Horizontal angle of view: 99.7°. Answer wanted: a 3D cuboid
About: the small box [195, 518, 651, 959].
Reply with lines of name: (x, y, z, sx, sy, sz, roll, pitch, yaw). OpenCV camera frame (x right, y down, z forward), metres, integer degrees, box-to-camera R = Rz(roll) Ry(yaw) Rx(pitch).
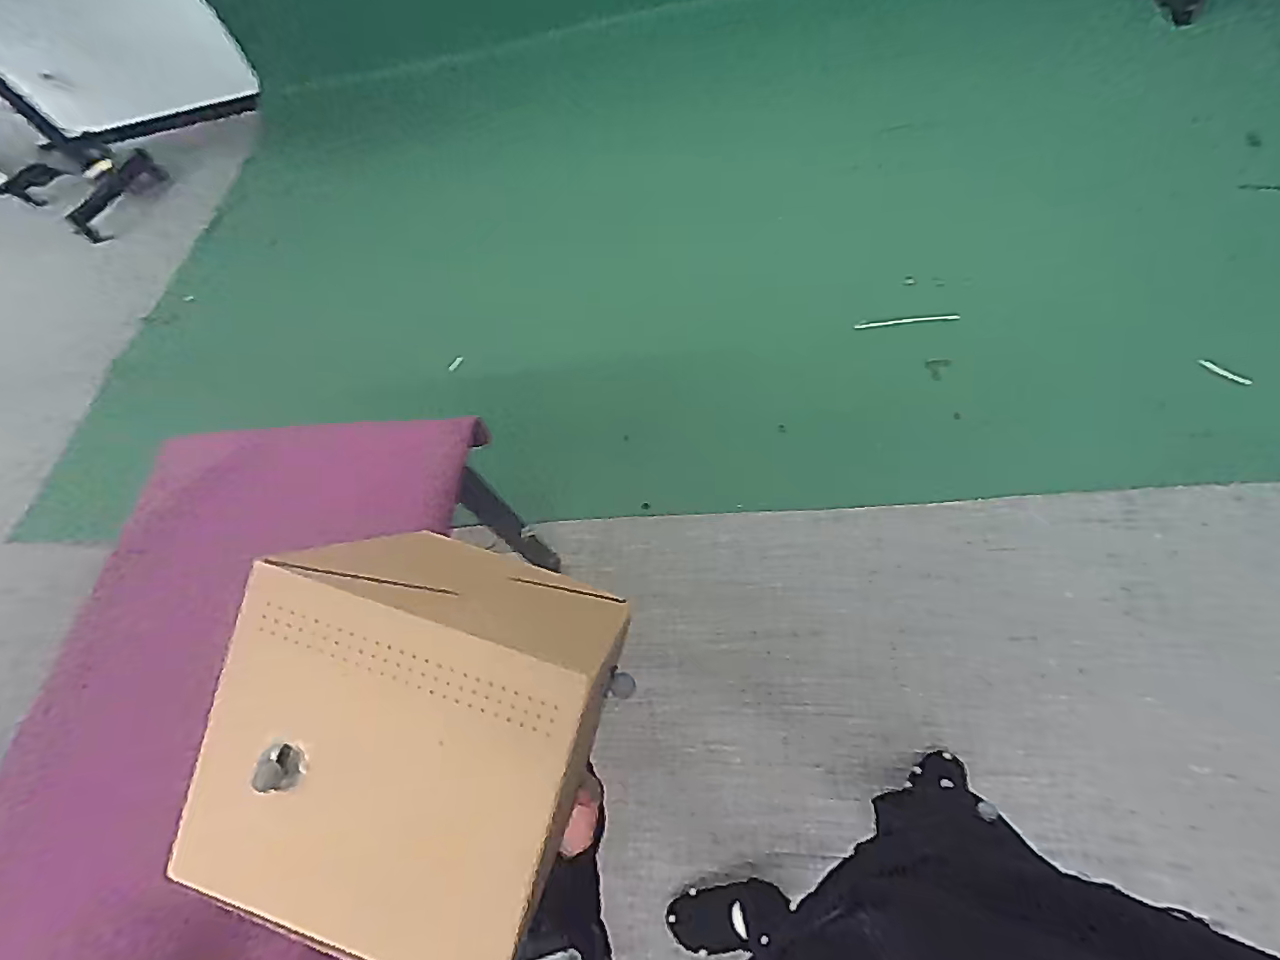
small box: (-0.104, 0.129, 0.330, 0.179, 0.168, 0.176, 17, 93, 5)
